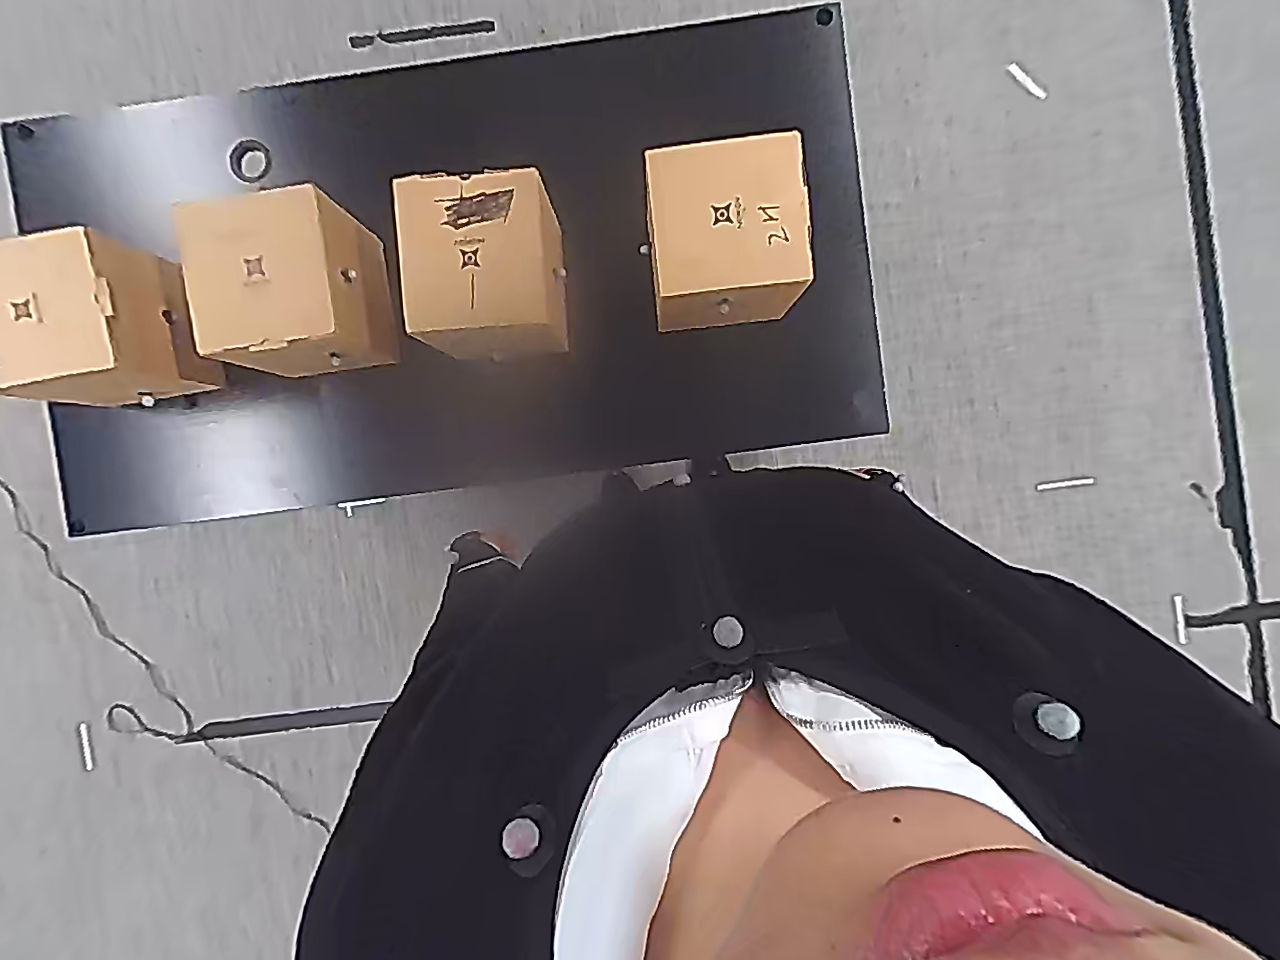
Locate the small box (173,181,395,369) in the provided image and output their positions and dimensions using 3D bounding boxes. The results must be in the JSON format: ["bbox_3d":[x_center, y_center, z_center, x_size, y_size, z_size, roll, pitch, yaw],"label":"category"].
[{"bbox_3d":[-0.438,-0.245,0.695,0.168,0.176,0.179,-8,91,0],"label":"small box"}]

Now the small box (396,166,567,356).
[{"bbox_3d":[-0.189,-0.265,0.690,0.168,0.176,0.179,-4,92,1],"label":"small box"}]

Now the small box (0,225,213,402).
[{"bbox_3d":[-0.697,-0.201,0.697,0.179,0.176,0.168,-10,92,0],"label":"small box"}]

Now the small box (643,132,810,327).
[{"bbox_3d":[0.100,-0.301,0.684,0.179,0.176,0.168,-6,92,1],"label":"small box"}]
